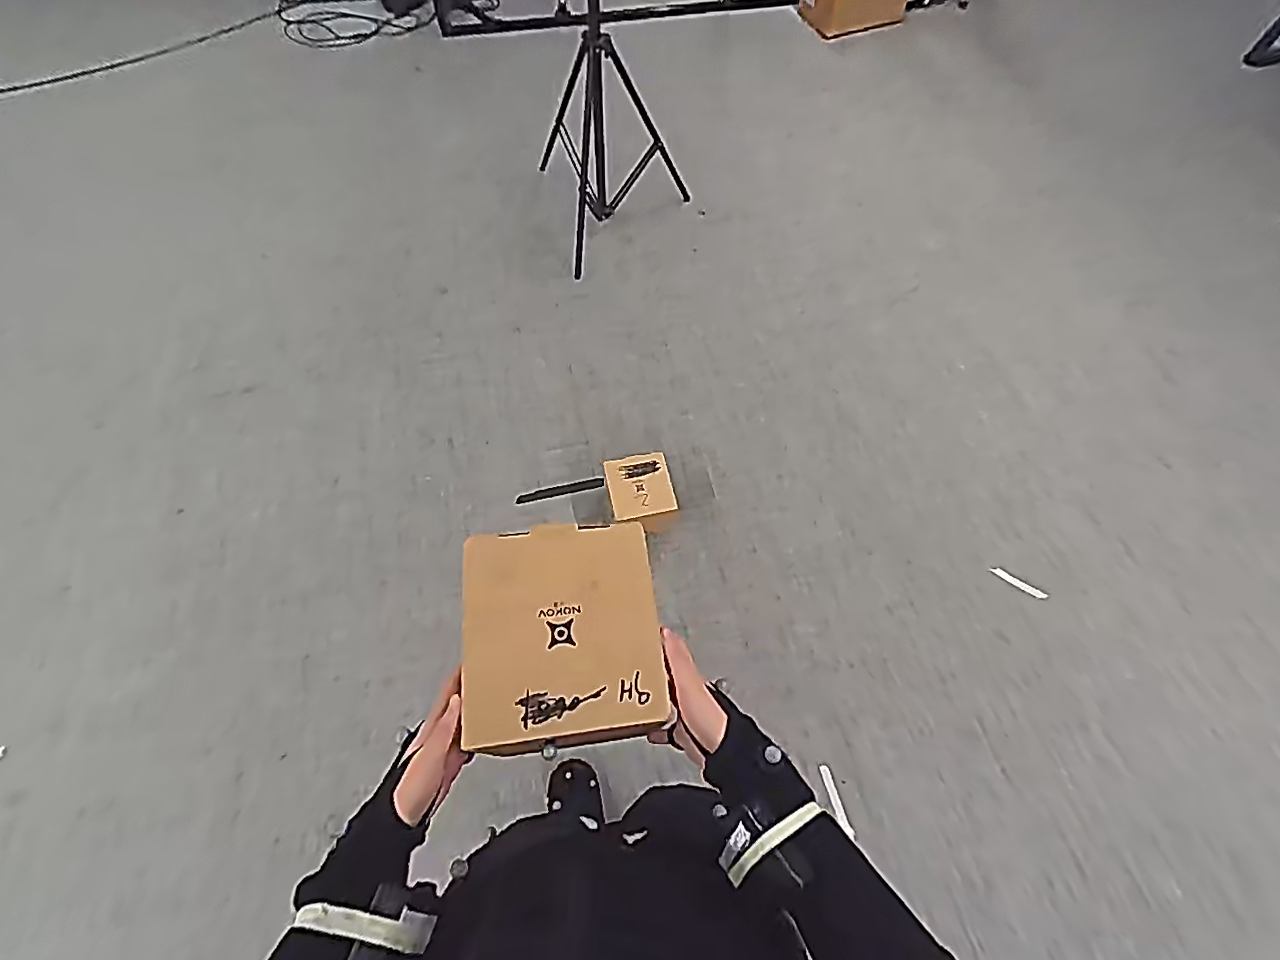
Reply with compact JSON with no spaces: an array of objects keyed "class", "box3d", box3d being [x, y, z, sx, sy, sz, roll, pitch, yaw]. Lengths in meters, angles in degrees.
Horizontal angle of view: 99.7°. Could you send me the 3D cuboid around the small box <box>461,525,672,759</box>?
[{"class":"small box","box3d":[-0.072,0.162,0.527,0.168,0.176,0.179,-5,62,-8]}]
